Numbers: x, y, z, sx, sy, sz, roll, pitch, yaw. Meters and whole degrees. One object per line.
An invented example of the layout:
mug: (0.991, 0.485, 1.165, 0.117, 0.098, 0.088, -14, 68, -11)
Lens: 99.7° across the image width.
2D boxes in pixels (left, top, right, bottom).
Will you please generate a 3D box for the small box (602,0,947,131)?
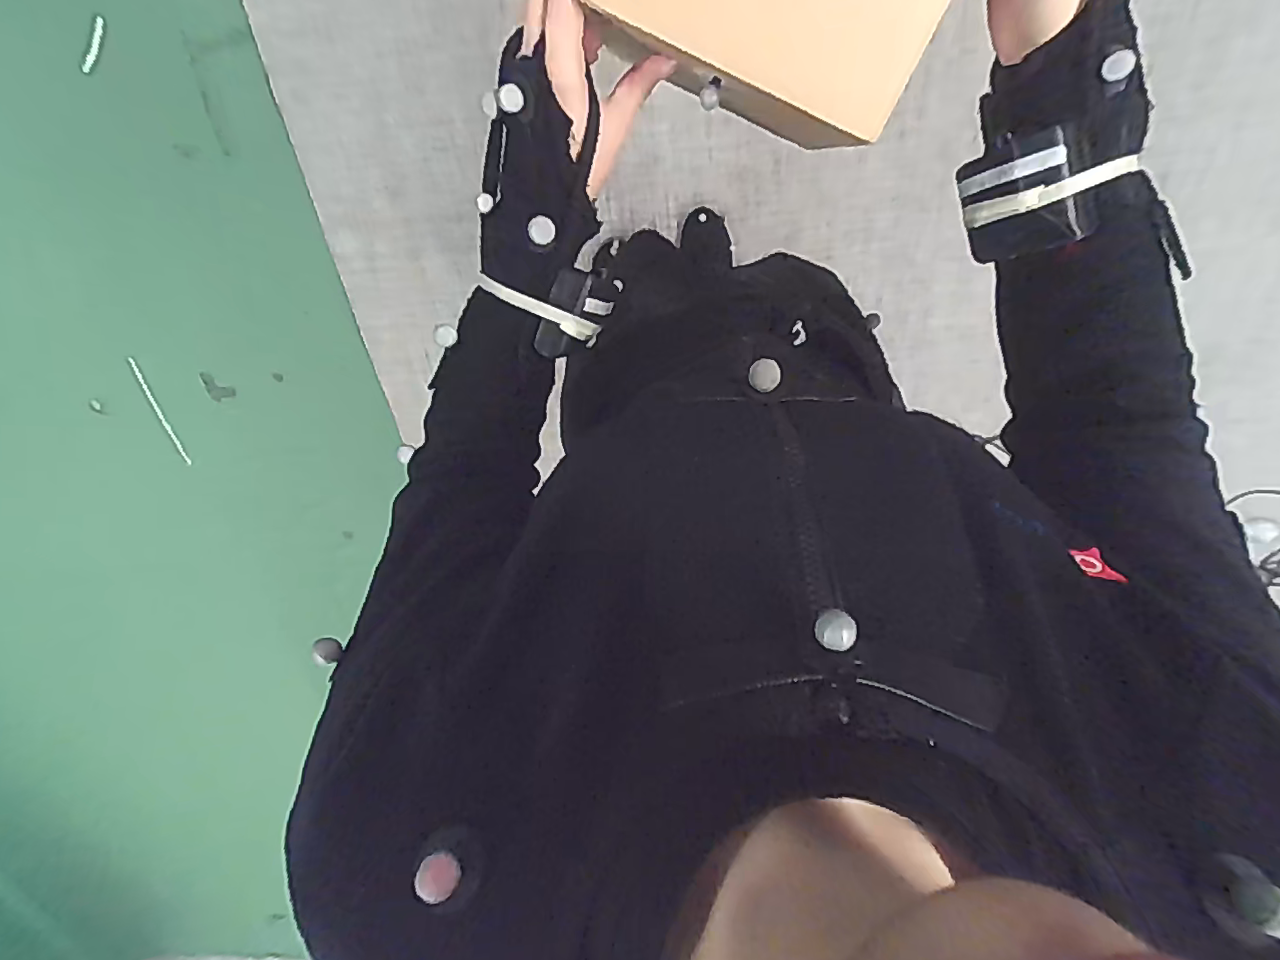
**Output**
small box: (0.081, -0.319, 0.307, 0.179, 0.176, 0.168, 20, 121, -9)
